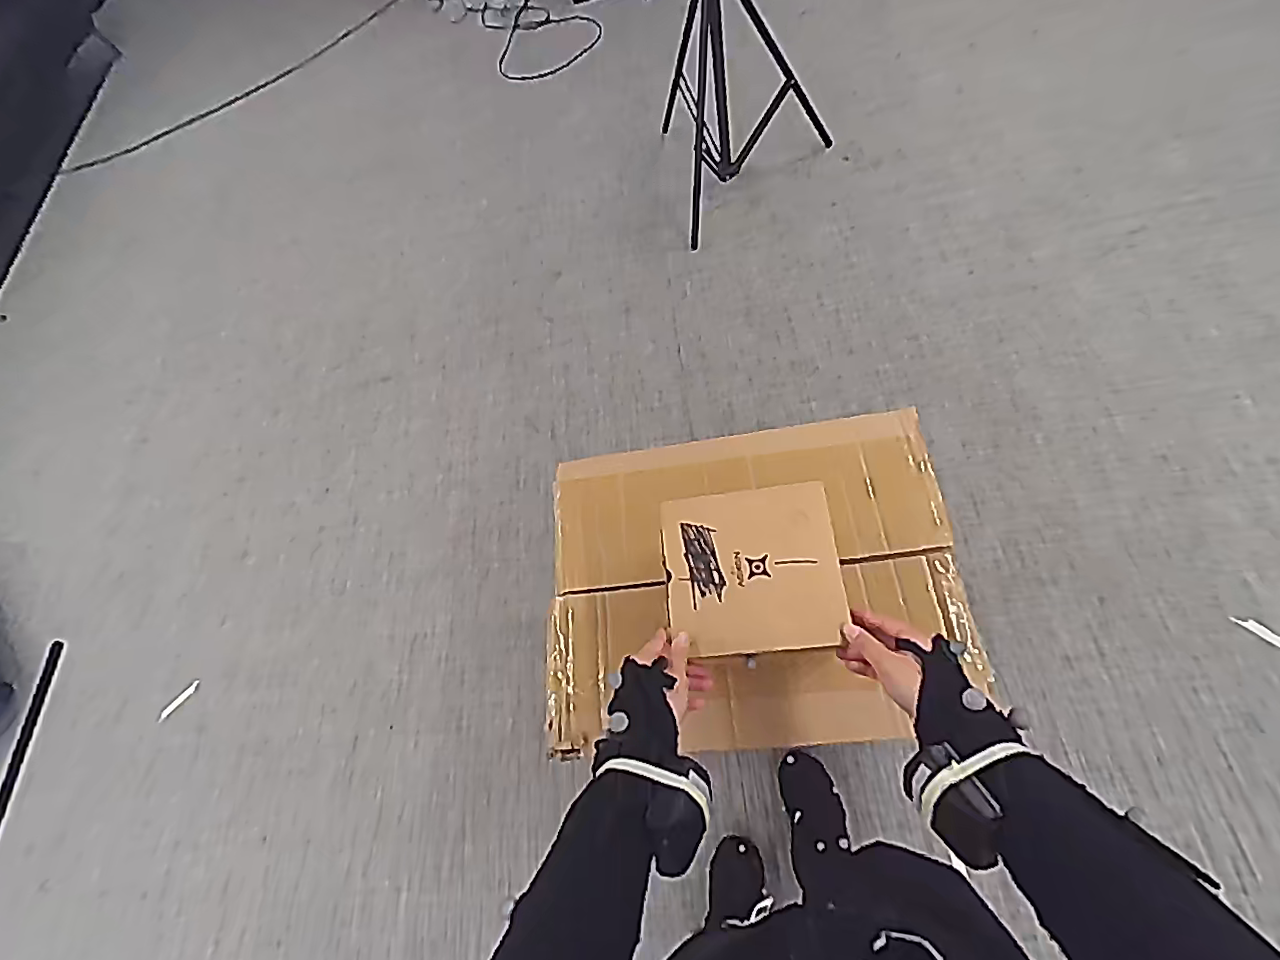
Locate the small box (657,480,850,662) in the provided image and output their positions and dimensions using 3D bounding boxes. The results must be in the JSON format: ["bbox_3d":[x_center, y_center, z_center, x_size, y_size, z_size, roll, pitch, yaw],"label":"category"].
[{"bbox_3d":[0.124,0.114,0.616,0.179,0.176,0.168,-8,68,9],"label":"small box"}]
